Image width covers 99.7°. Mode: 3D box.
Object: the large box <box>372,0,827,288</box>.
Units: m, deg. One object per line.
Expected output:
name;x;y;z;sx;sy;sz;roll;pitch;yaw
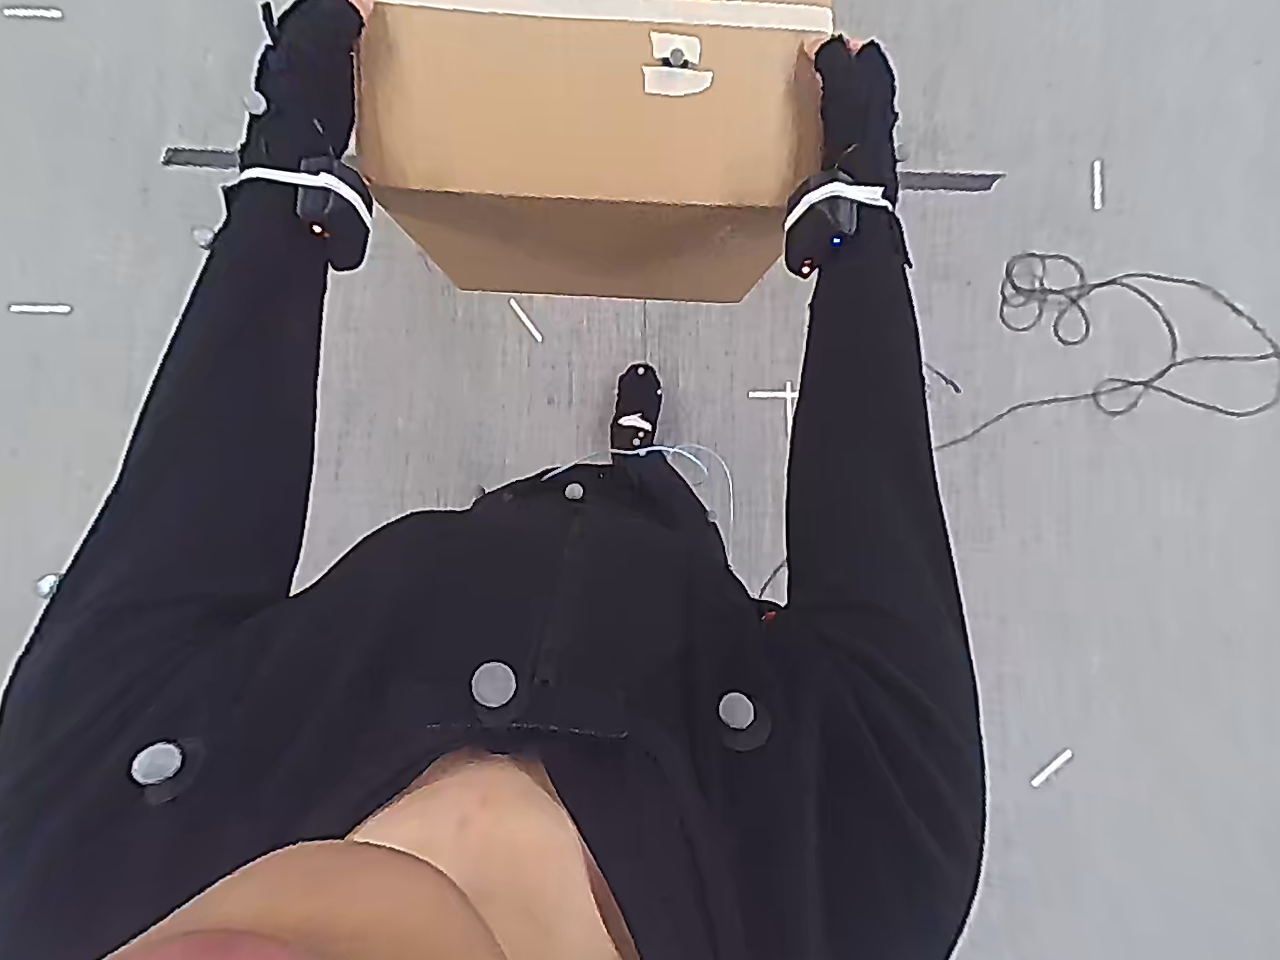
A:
large box;-0.041;-0.423;0.620;0.408;0.320;0.320;1;94;-4
